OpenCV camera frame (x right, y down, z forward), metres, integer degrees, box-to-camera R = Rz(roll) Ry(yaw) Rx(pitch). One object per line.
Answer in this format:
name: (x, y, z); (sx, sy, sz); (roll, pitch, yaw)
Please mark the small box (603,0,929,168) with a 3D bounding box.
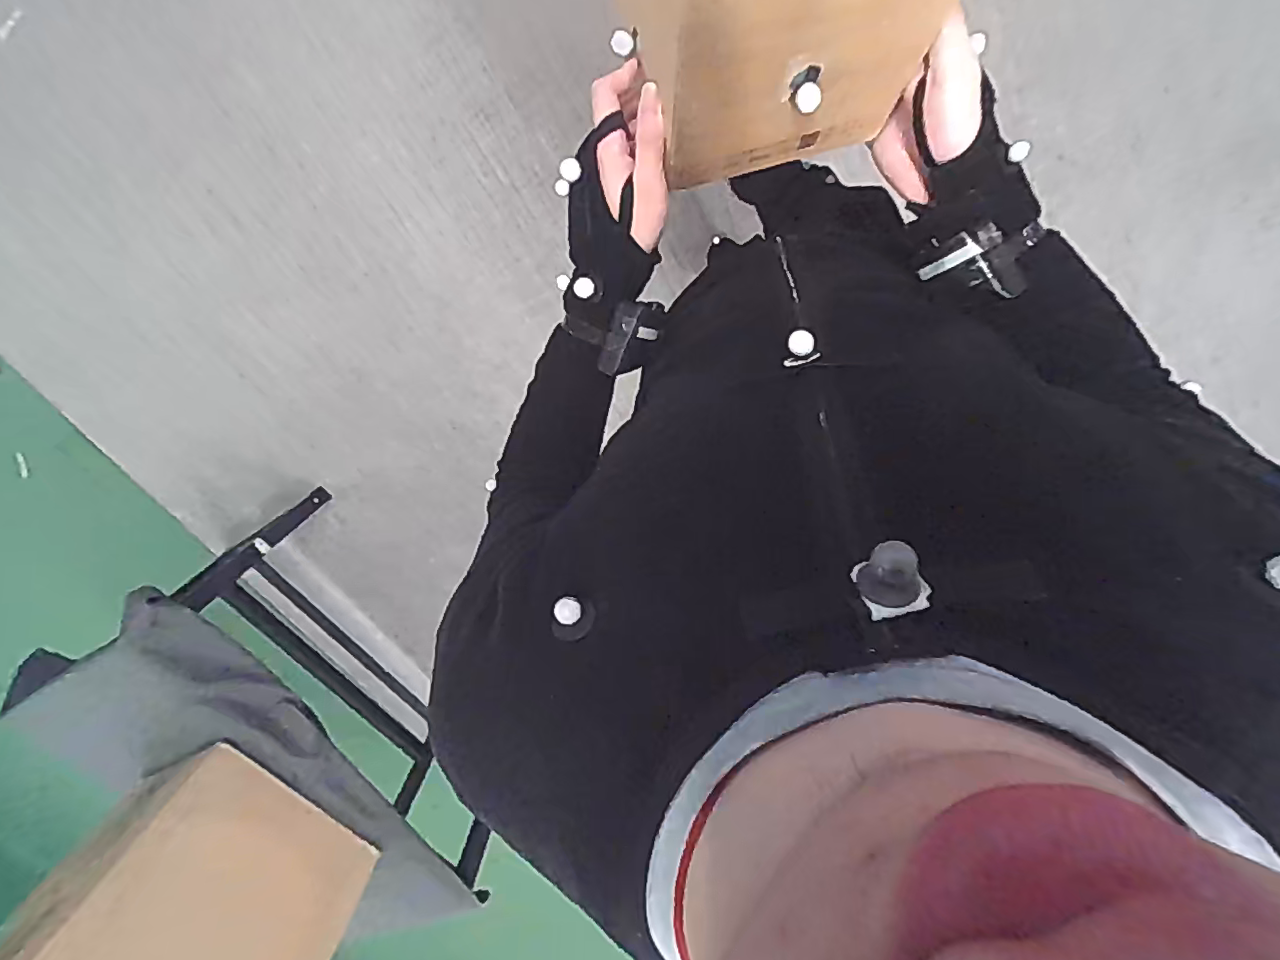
small box: (0.067, -0.320, 0.322); (0.168, 0.176, 0.179); (-15, 87, -2)
